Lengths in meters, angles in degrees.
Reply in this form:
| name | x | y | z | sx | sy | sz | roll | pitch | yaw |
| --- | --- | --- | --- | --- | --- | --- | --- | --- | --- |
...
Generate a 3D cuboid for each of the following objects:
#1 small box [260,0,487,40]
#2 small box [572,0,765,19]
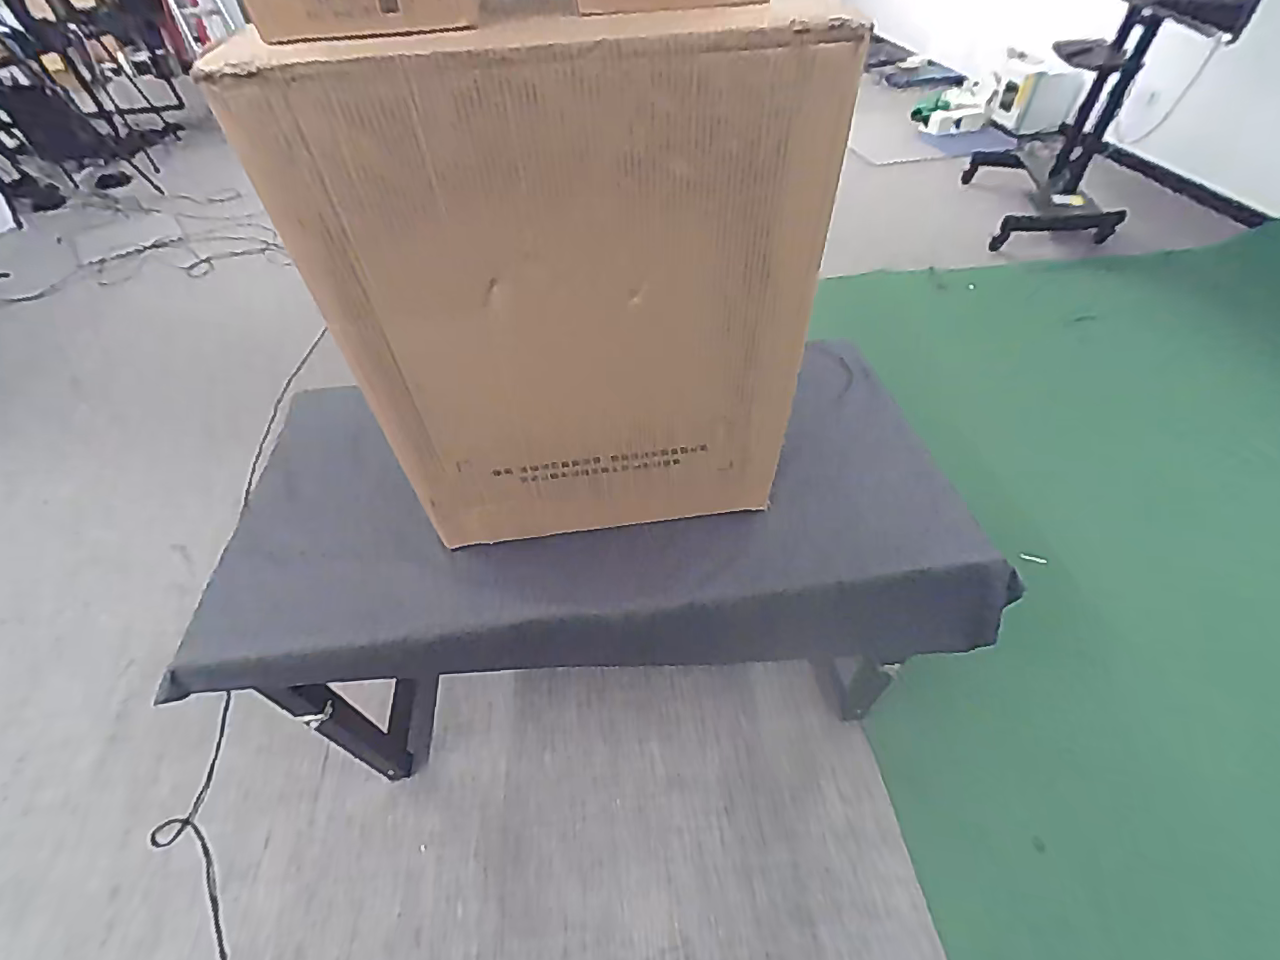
| name | x | y | z | sx | sy | sz | roll | pitch | yaw |
| --- | --- | --- | --- | --- | --- | --- | --- | --- | --- |
| small box | -0.222 | -0.464 | 0.420 | 0.168 | 0.176 | 0.179 | -7 | 51 | -3 |
| small box | 0.019 | -0.504 | 0.449 | 0.168 | 0.176 | 0.179 | -5 | 49 | -5 |
